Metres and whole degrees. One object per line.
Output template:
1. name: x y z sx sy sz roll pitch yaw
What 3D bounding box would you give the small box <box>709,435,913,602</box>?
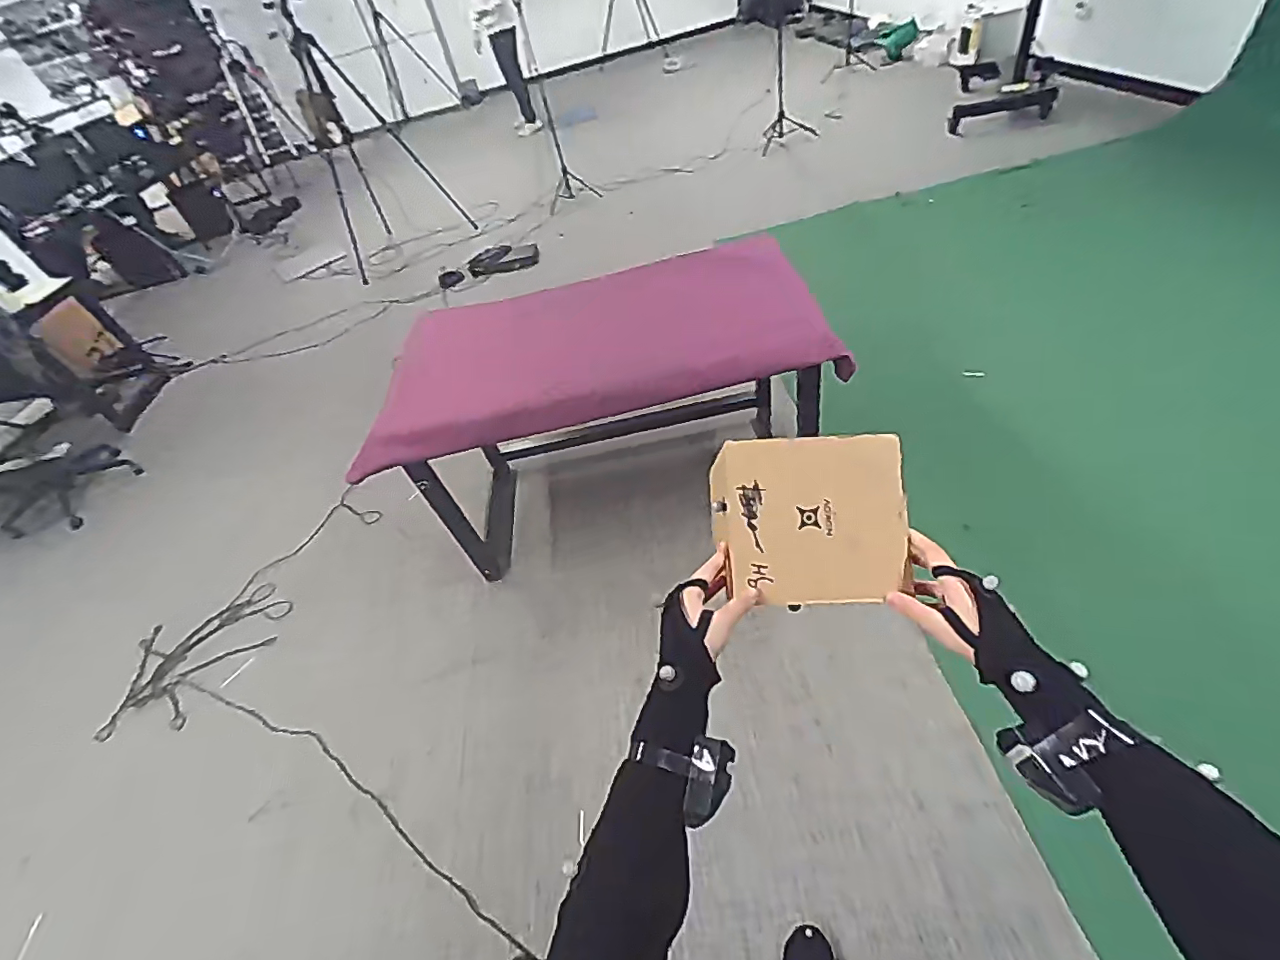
1. small box: 0.175 0.049 0.608 0.179 0.176 0.168 -2 80 2
